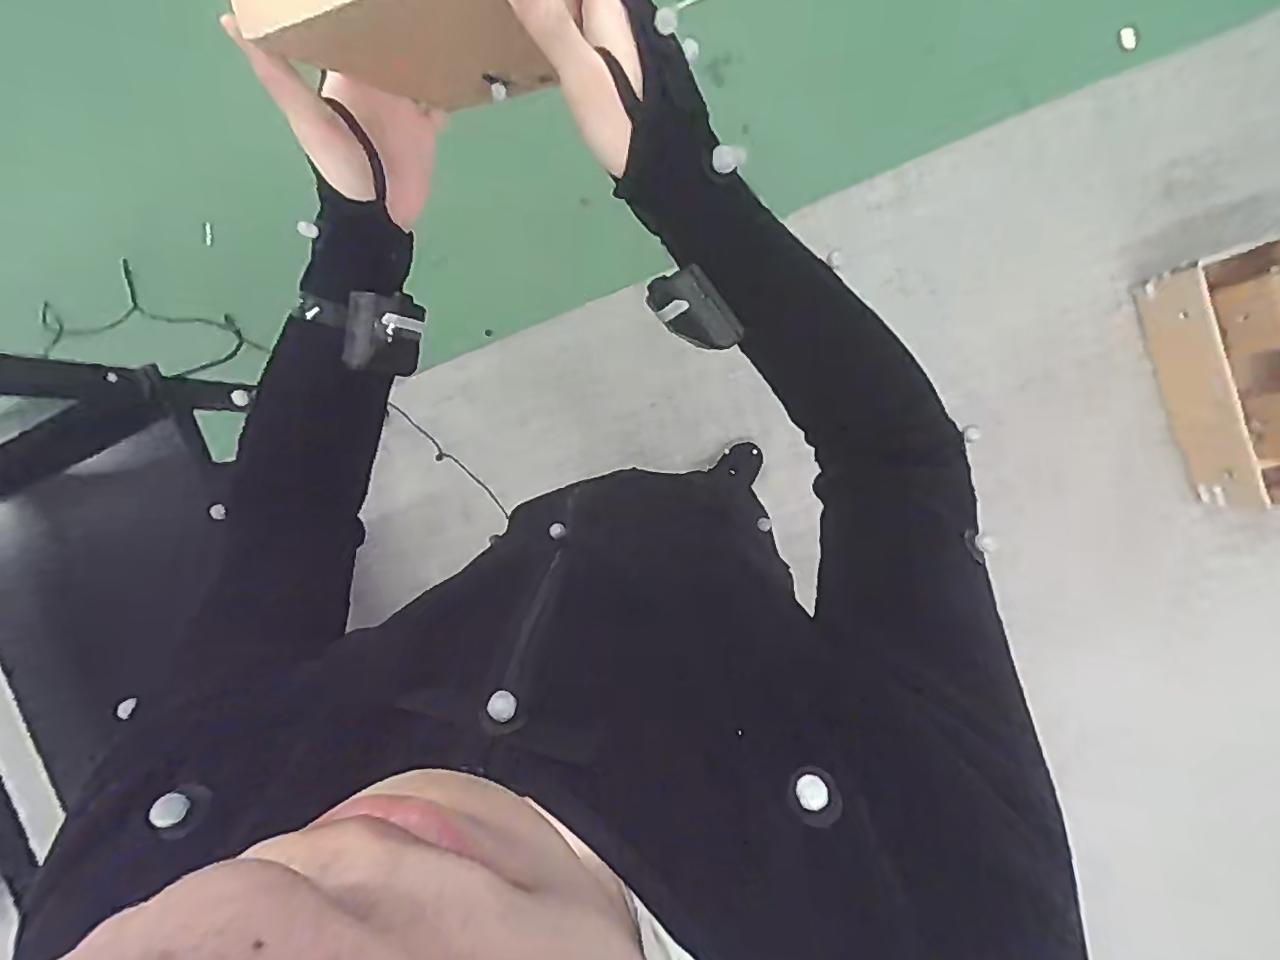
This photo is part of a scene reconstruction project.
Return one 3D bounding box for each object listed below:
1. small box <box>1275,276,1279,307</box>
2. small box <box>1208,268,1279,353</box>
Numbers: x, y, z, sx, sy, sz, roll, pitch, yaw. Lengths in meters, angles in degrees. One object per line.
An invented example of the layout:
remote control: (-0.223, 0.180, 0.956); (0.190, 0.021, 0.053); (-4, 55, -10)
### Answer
small box: (1.487, -0.393, 1.112); (0.179, 0.176, 0.168); (-20, 92, 8)
small box: (1.506, -0.411, 1.271); (0.179, 0.176, 0.168); (-19, 93, 8)
